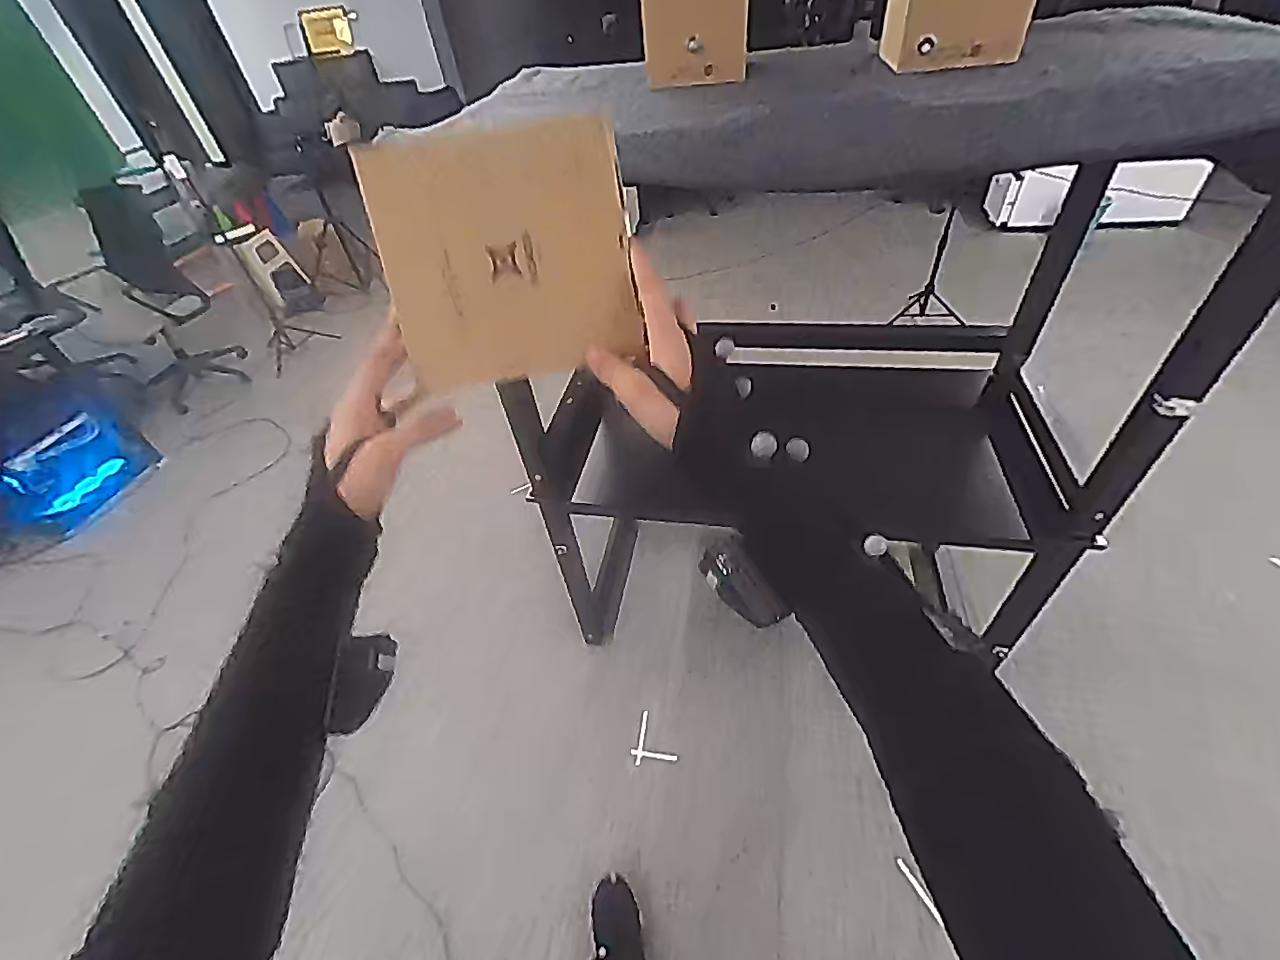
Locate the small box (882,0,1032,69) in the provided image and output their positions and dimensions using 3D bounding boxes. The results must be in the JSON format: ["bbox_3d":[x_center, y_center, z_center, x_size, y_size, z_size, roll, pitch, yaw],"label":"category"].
[{"bbox_3d":[0.471,-0.725,0.798,0.168,0.176,0.179,2,44,10],"label":"small box"}]

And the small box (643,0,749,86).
[{"bbox_3d":[0.098,-0.778,0.905,0.168,0.176,0.179,1,46,10],"label":"small box"}]

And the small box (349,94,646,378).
[{"bbox_3d":[-0.101,-0.189,0.452,0.179,0.168,0.176,-10,18,-3],"label":"small box"}]
